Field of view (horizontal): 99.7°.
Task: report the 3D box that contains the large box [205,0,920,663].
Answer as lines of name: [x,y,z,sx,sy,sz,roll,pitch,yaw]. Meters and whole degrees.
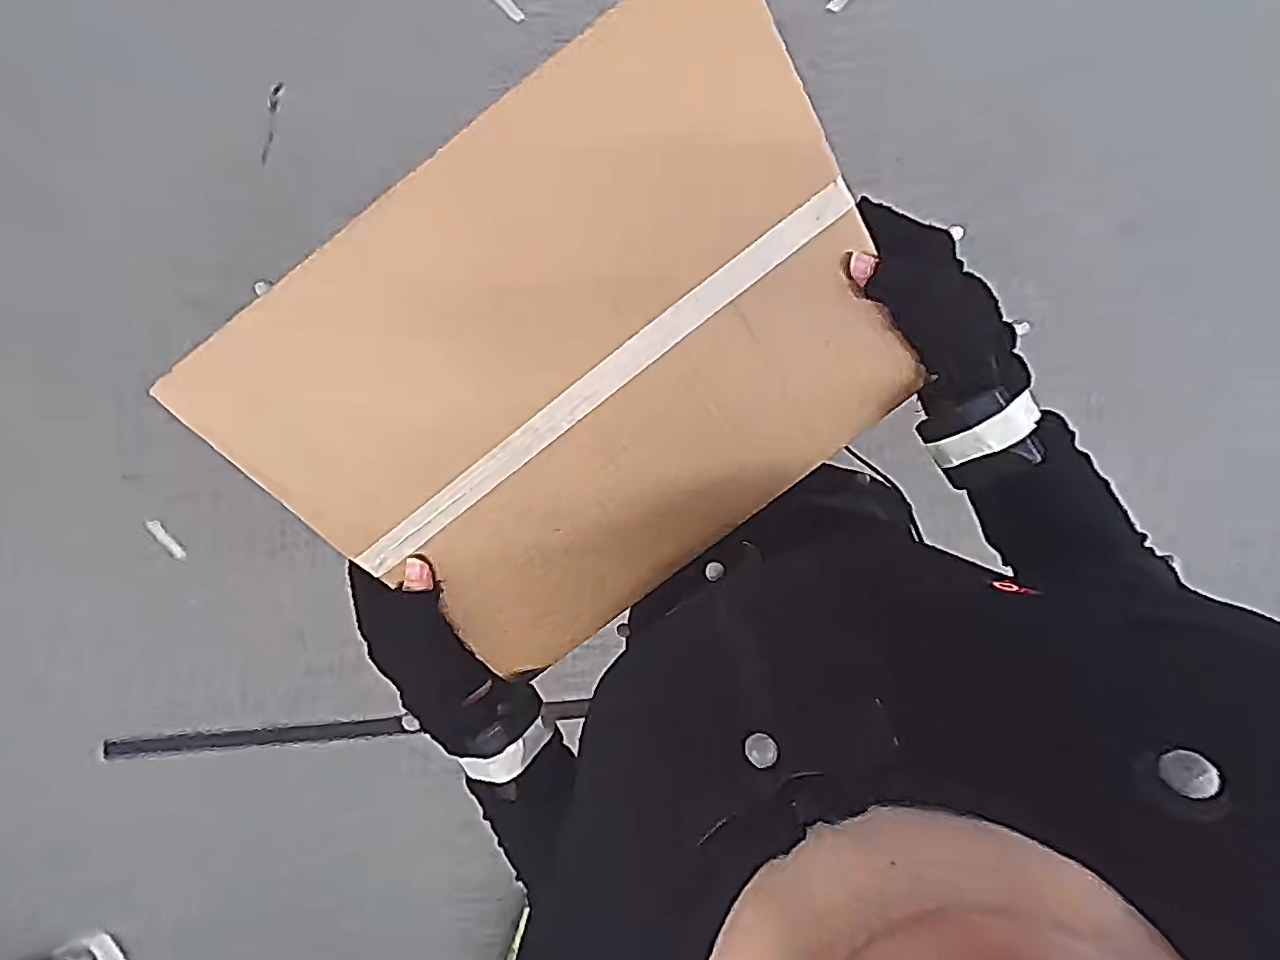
large box: [-0.053,-0.126,0.506,0.408,0.320,0.320,-36,116,3]
